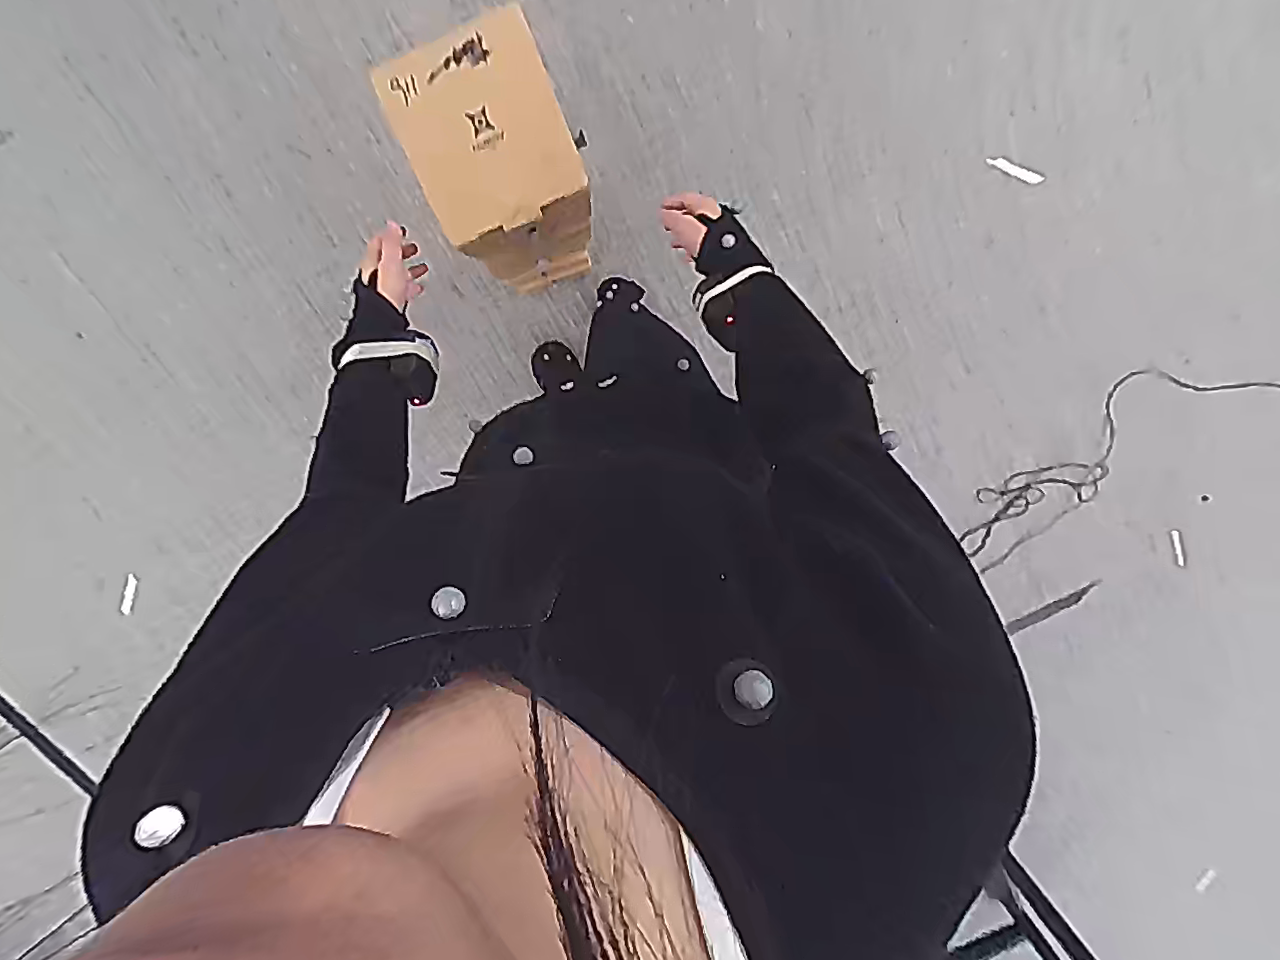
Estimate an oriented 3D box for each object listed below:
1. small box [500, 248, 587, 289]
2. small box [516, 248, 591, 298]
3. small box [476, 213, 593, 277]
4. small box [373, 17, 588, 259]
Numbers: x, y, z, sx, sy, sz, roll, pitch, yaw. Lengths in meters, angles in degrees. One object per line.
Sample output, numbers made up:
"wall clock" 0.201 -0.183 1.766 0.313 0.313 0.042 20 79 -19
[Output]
"small box" -0.215 -0.498 1.106 0.179 0.176 0.168 -18 108 0
"small box" -0.225 -0.538 1.265 0.179 0.176 0.168 -21 107 1
"small box" -0.177 -0.414 0.793 0.168 0.176 0.179 -21 109 2
"small box" -0.166 -0.375 0.634 0.168 0.176 0.179 -23 109 2
